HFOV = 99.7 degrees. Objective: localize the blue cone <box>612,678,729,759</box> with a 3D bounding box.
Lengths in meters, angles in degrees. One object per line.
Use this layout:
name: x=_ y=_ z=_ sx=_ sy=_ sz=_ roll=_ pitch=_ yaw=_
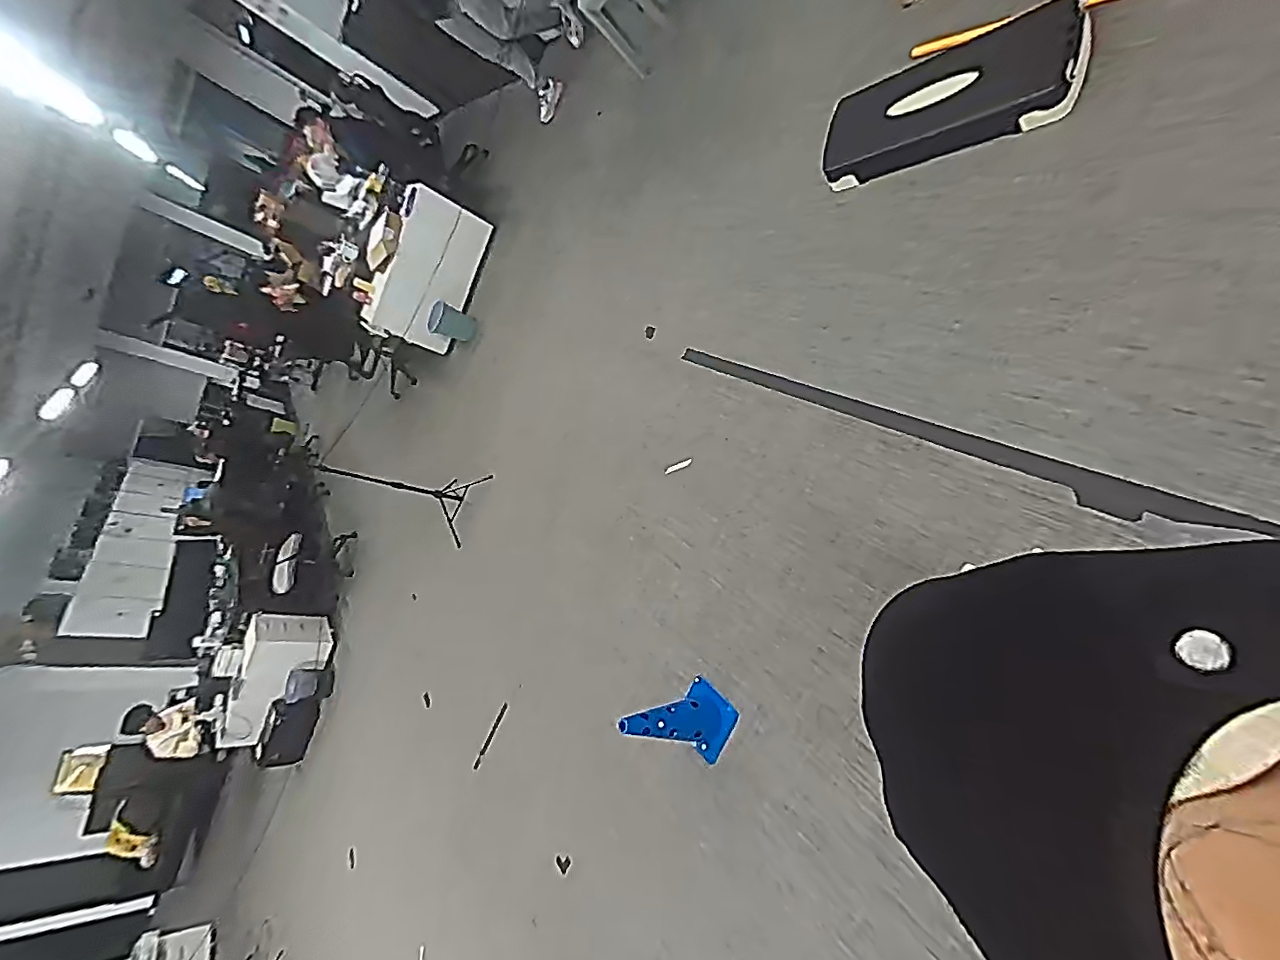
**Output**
blue cone: x=0.075 y=0.724 z=1.623 sx=0.192 sy=0.380 sz=0.193 roll=37 pitch=105 yaw=49
